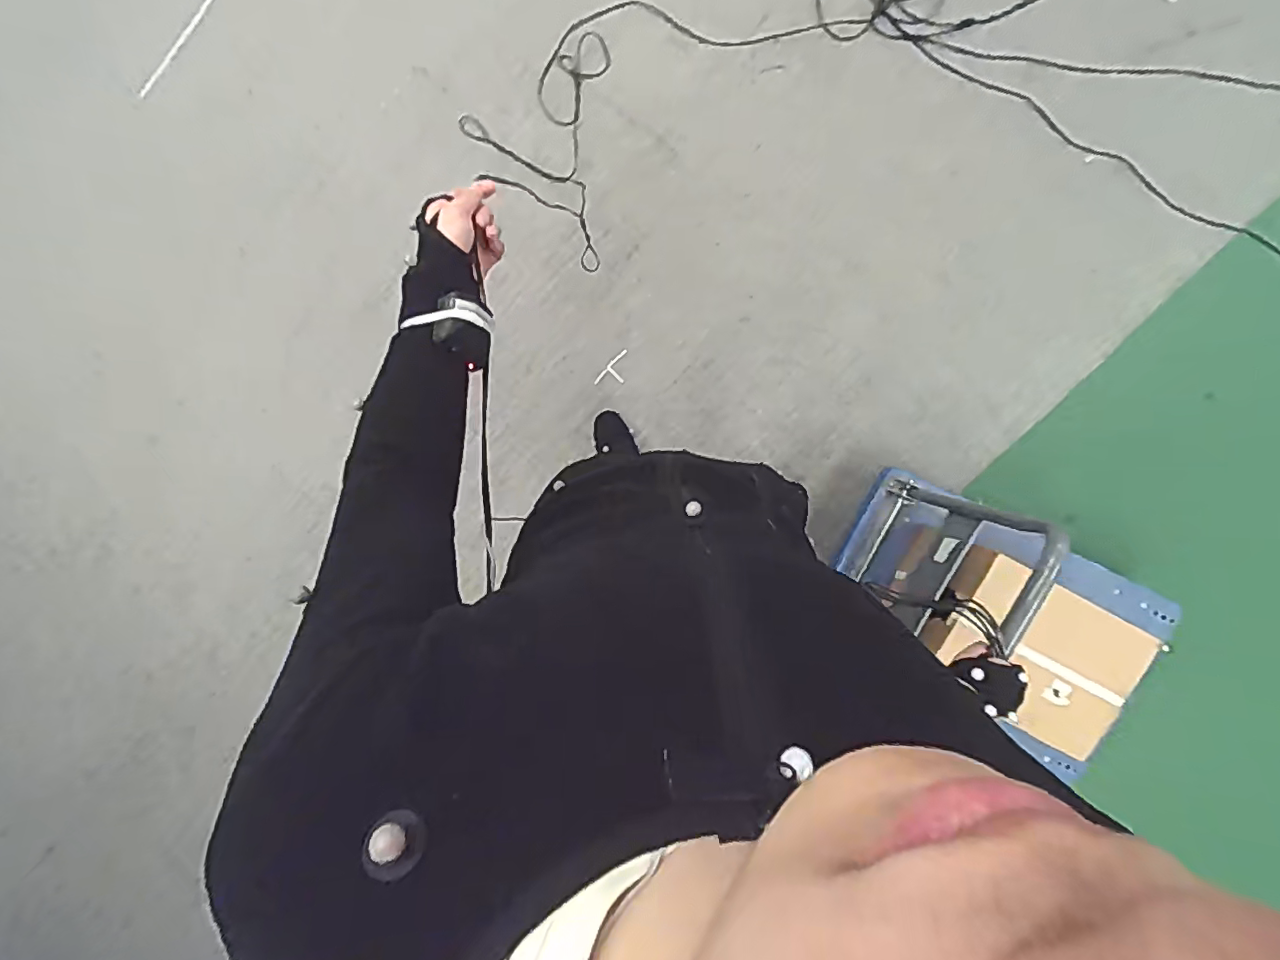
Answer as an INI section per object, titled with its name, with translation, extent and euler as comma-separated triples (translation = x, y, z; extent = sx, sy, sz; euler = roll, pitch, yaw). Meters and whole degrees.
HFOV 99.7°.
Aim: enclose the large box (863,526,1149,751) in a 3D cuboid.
[large box]
translation = 0.835, 0.352, 1.297
extent = 0.408, 0.320, 0.320
euler = 28, 97, -3
